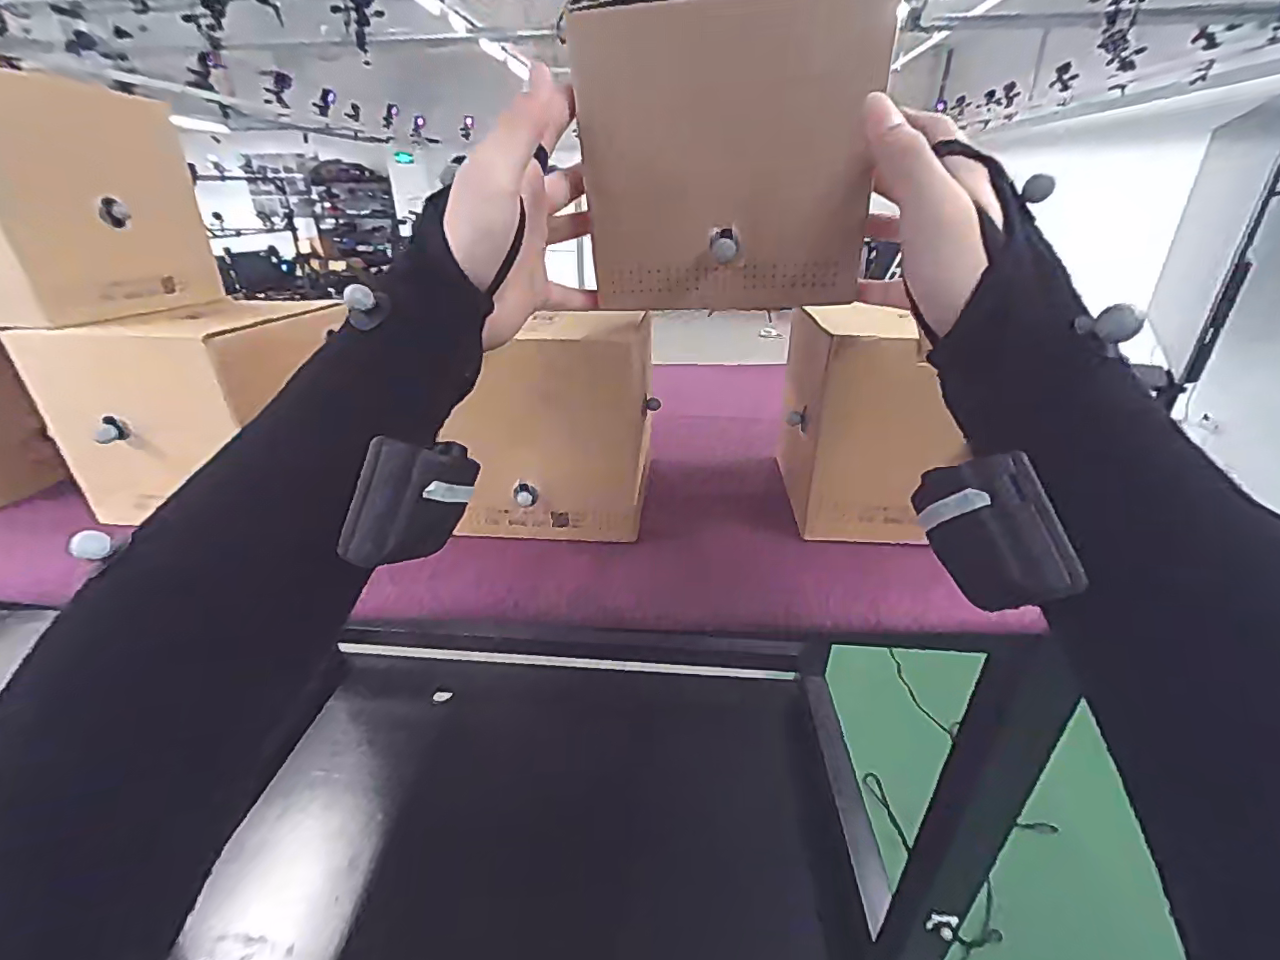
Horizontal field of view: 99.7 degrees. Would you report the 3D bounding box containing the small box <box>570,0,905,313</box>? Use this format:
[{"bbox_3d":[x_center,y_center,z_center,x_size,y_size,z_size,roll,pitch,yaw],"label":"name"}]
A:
[{"bbox_3d":[0.062,-0.227,0.390,0.179,0.176,0.168,1,35,8],"label":"small box"}]

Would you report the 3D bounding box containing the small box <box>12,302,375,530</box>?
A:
[{"bbox_3d":[-0.376,-0.065,0.501,0.168,0.176,0.179,2,26,6],"label":"small box"}]

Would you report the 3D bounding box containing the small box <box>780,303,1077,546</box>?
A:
[{"bbox_3d":[0.222,-0.056,0.474,0.168,0.176,0.179,2,26,6],"label":"small box"}]

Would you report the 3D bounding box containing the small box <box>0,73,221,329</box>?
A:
[{"bbox_3d":[-0.505,-0.224,0.448,0.179,0.176,0.168,4,26,6],"label":"small box"}]
